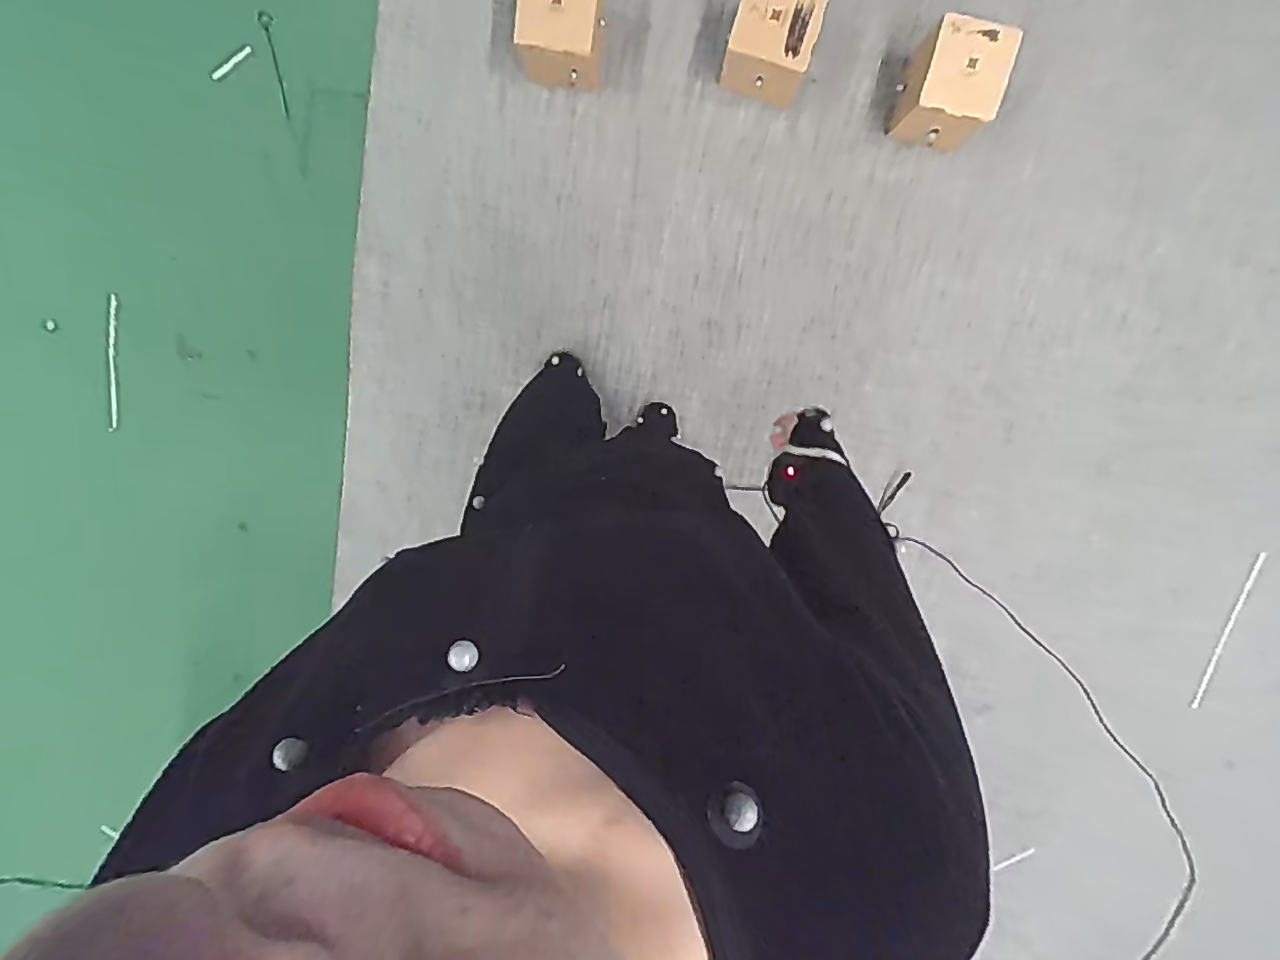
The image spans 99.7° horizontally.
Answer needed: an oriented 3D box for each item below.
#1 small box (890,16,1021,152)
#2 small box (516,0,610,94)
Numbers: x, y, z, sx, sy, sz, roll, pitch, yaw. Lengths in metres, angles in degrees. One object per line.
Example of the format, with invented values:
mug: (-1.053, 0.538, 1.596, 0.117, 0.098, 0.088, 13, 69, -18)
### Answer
small box: (0.680, -0.858, 1.192, 0.168, 0.176, 0.179, 14, 103, -1)
small box: (-0.165, -1.001, 1.202, 0.168, 0.176, 0.179, 10, 102, 0)
